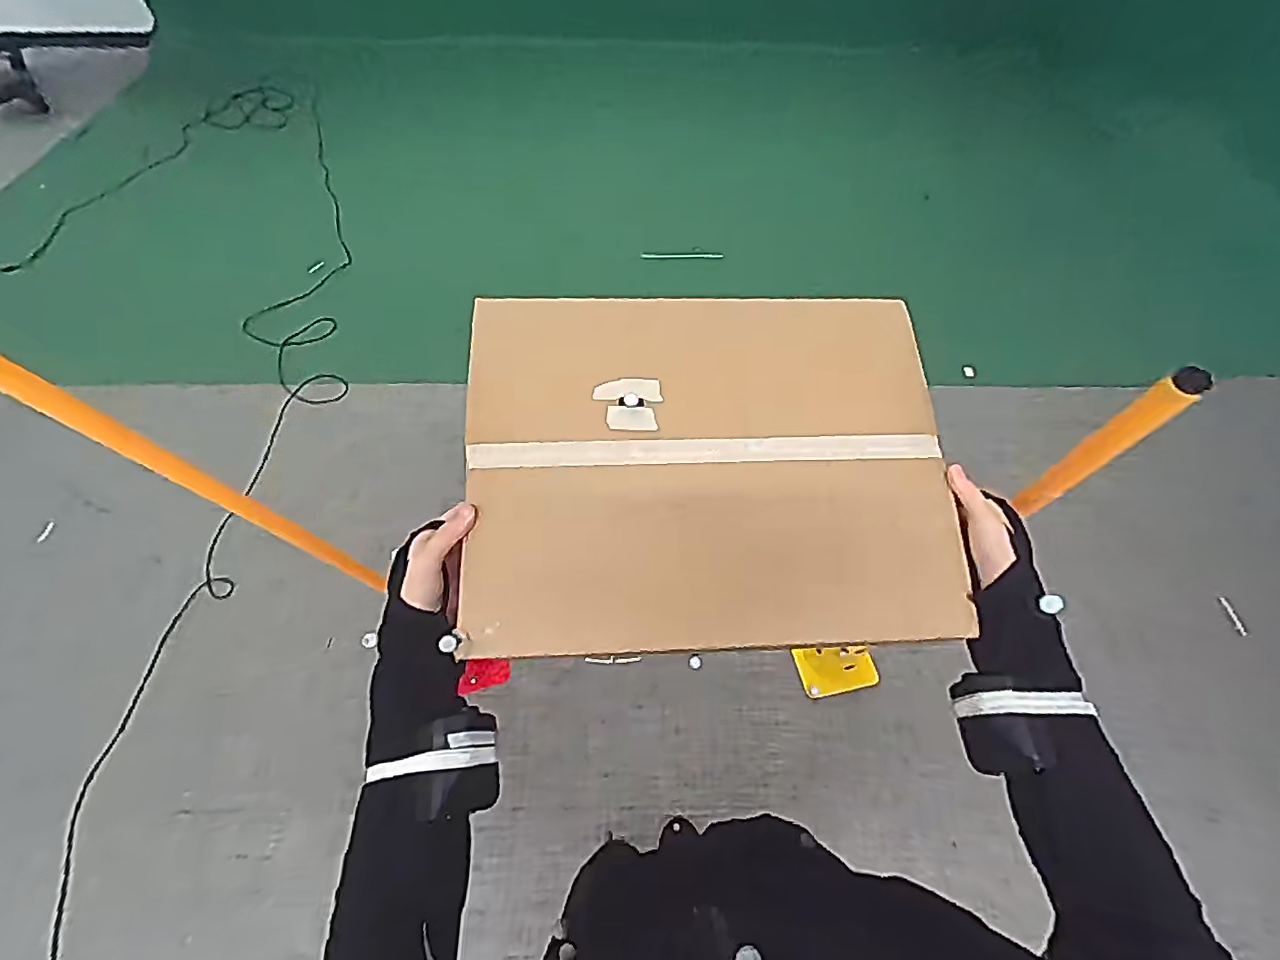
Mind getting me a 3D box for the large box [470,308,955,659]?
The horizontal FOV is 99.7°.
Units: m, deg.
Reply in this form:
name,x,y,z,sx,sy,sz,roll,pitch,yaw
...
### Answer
name,x,y,z,sx,sy,sz,roll,pitch,yaw
large box,0.051,0.029,0.620,0.408,0.320,0.320,-2,71,-3
